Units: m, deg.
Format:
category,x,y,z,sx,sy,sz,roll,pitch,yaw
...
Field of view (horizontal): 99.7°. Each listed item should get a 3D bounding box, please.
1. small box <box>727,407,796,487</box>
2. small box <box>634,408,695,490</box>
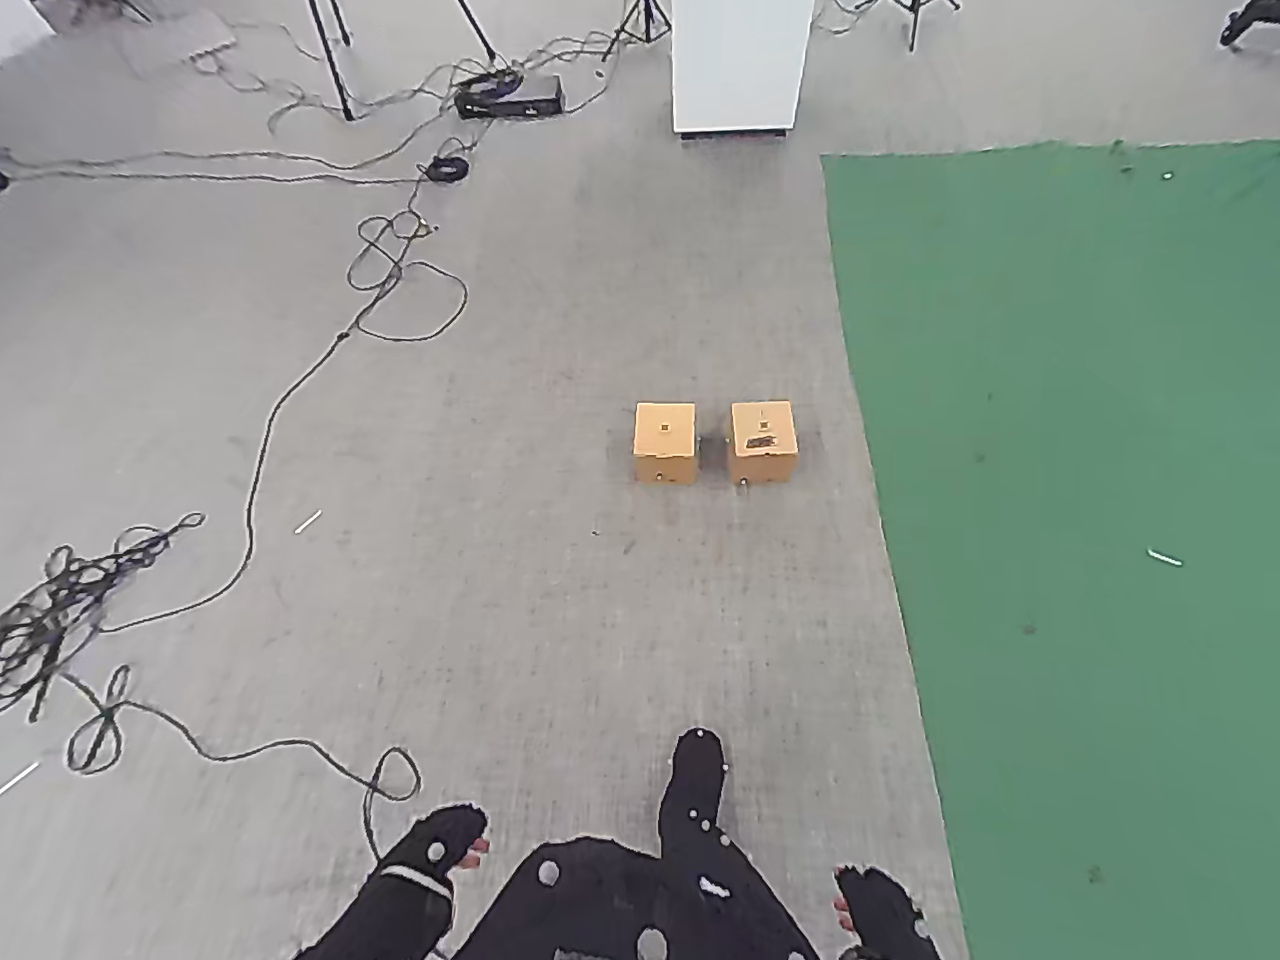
category,x,y,z,sx,sy,sz,roll,pitch,yaw
small box,0.340,-0.088,1.544,0.168,0.176,0.179,-2,61,3
small box,0.072,-0.087,1.562,0.168,0.176,0.179,1,62,4
